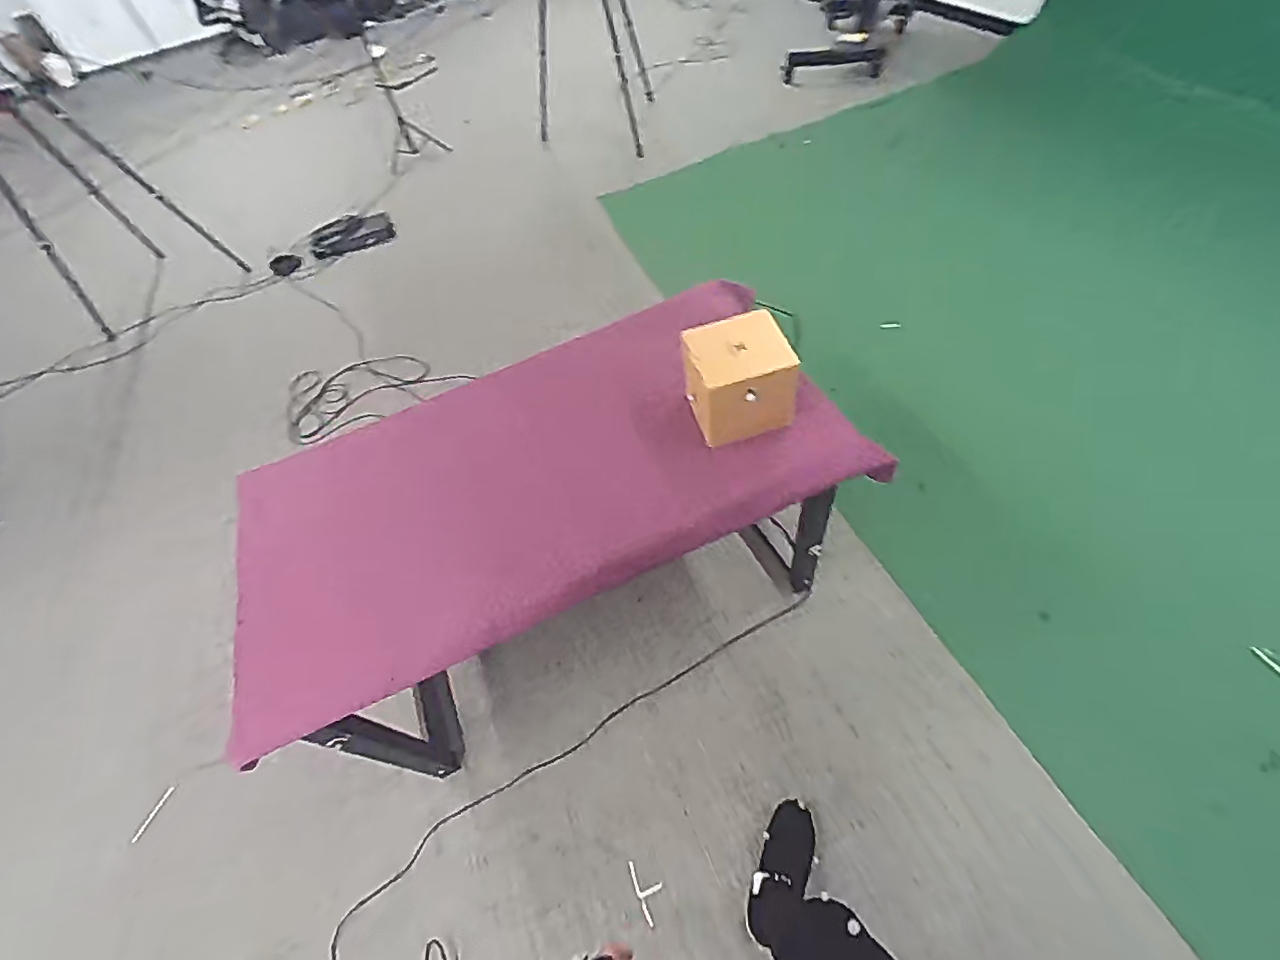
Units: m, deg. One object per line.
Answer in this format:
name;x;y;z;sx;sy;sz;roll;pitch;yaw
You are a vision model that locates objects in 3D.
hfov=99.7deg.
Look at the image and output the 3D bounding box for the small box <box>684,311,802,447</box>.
small box;0.195;-0.191;1.052;0.179;0.176;0.168;-17;54;0
